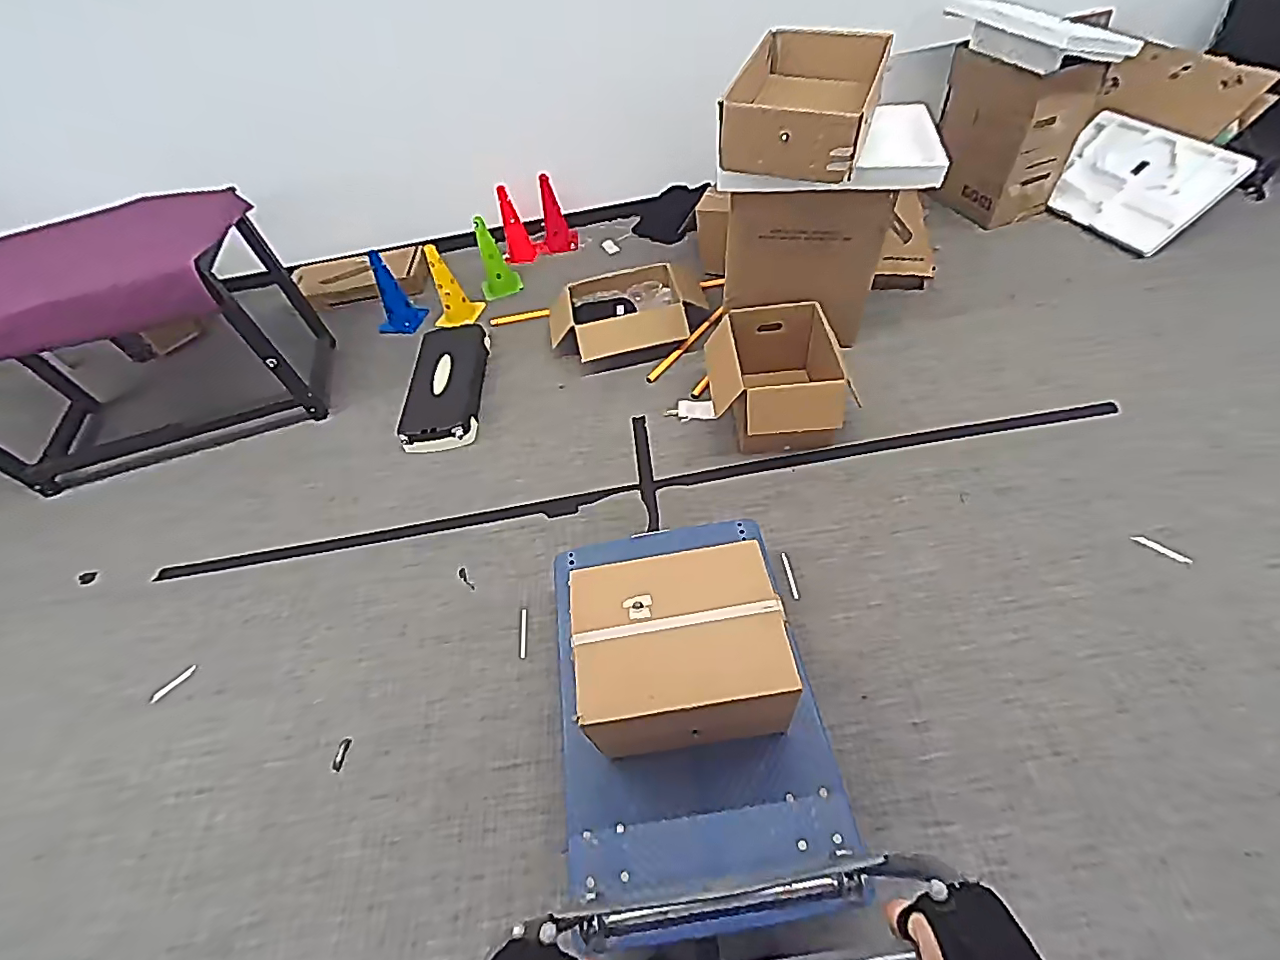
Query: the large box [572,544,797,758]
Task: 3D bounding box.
[{"bbox_3d":[0.090,0.382,1.182,0.408,0.320,0.320,-11,51,2],"label":"large box"}]
